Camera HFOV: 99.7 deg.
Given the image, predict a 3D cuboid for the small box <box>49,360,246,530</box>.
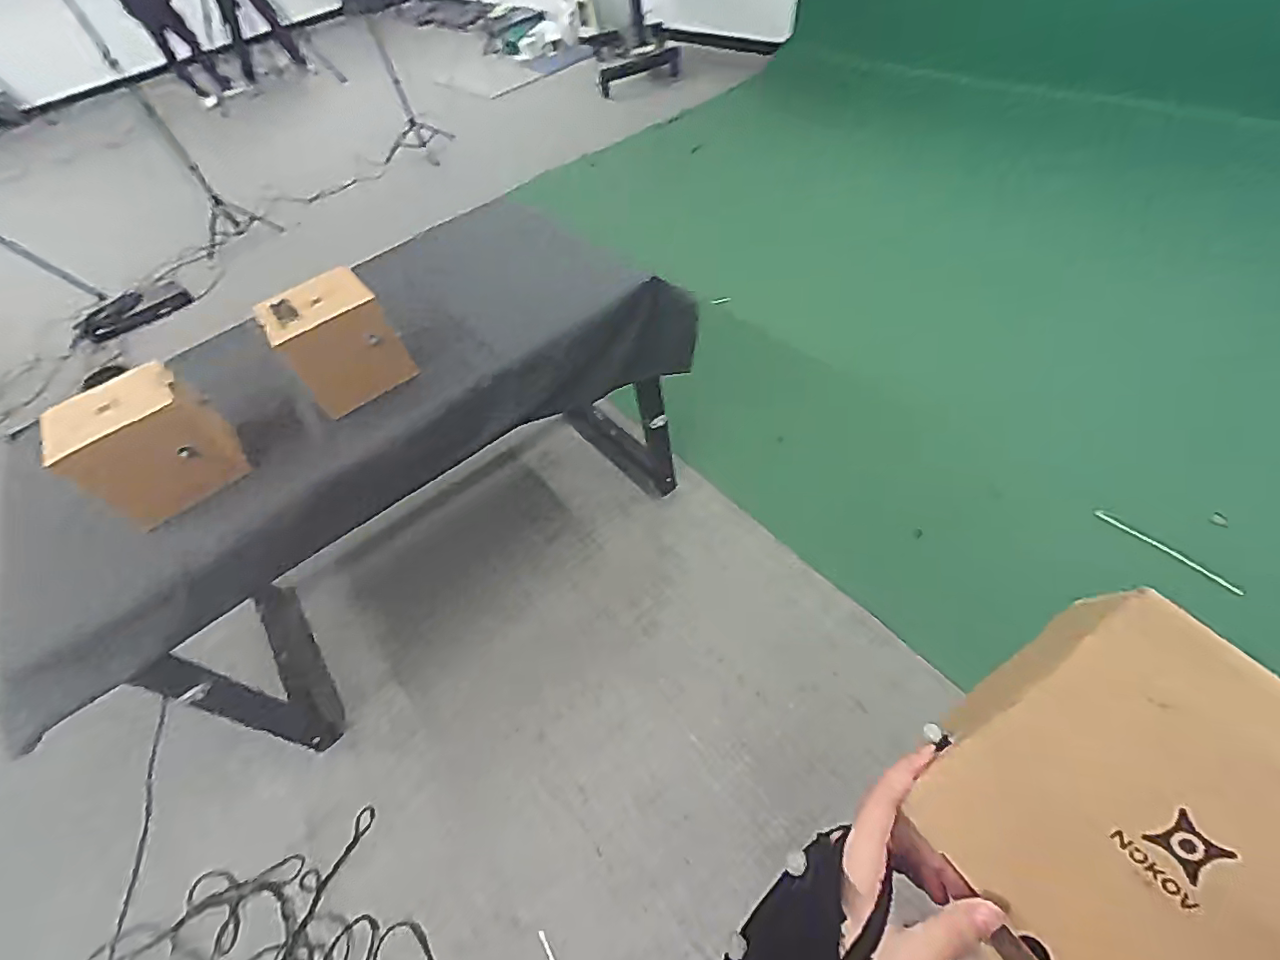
[{"bbox_3d":[-0.781,-0.056,0.875,0.179,0.176,0.168,-37,53,-18],"label":"small box"}]
